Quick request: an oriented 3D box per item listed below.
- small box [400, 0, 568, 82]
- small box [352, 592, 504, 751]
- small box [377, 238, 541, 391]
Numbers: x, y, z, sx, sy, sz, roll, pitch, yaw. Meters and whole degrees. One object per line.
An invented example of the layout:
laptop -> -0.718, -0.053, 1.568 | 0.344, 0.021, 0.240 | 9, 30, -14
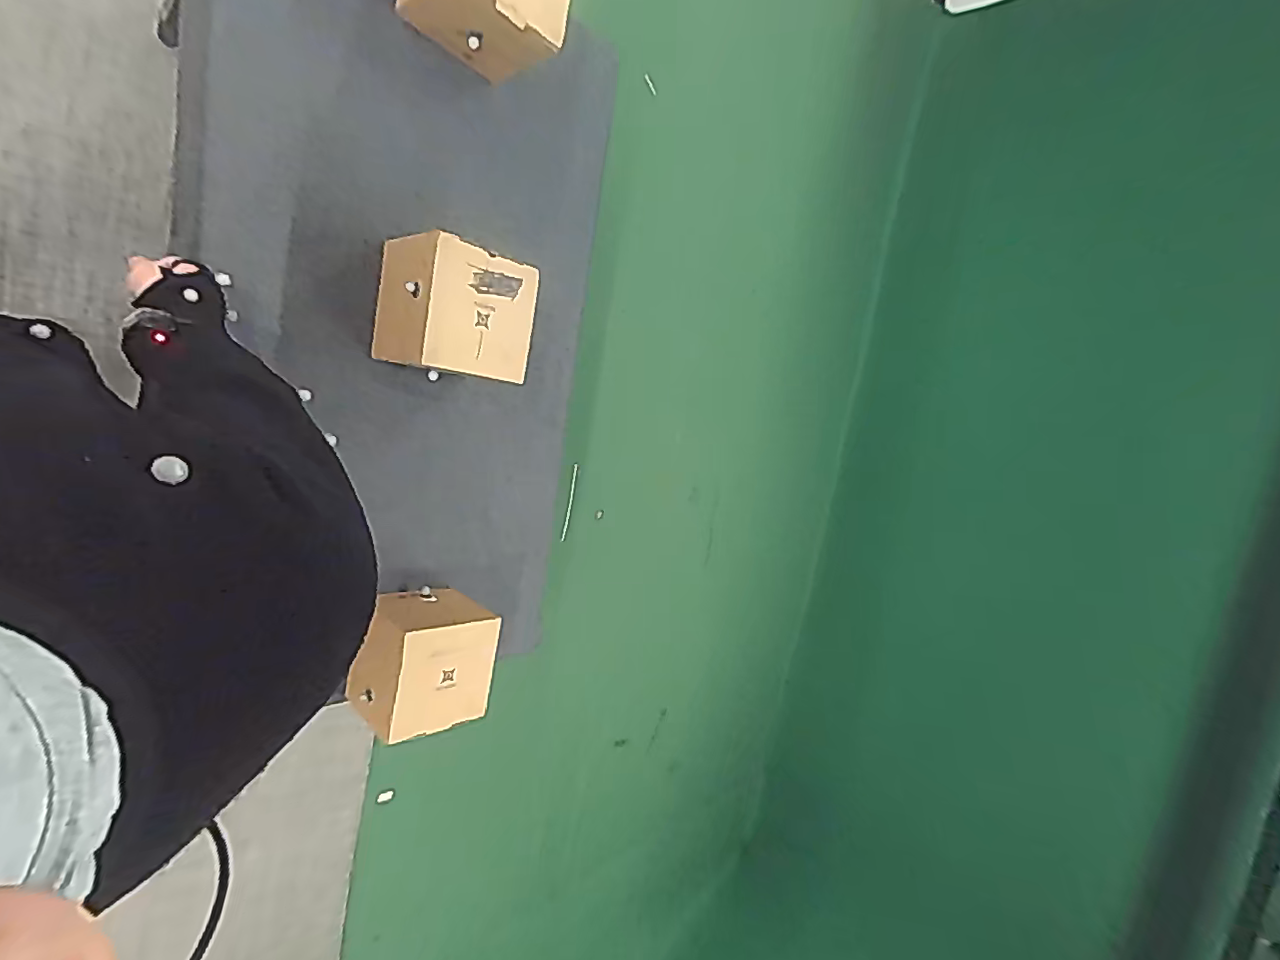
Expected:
small box -> -0.212, -0.698, 0.746 | 0.168, 0.176, 0.179 | 5, 99, -48
small box -> -0.352, 0.300, 0.888 | 0.168, 0.176, 0.179 | 4, 97, -49
small box -> -0.275, -0.240, 0.813 | 0.168, 0.176, 0.179 | 3, 100, -47
